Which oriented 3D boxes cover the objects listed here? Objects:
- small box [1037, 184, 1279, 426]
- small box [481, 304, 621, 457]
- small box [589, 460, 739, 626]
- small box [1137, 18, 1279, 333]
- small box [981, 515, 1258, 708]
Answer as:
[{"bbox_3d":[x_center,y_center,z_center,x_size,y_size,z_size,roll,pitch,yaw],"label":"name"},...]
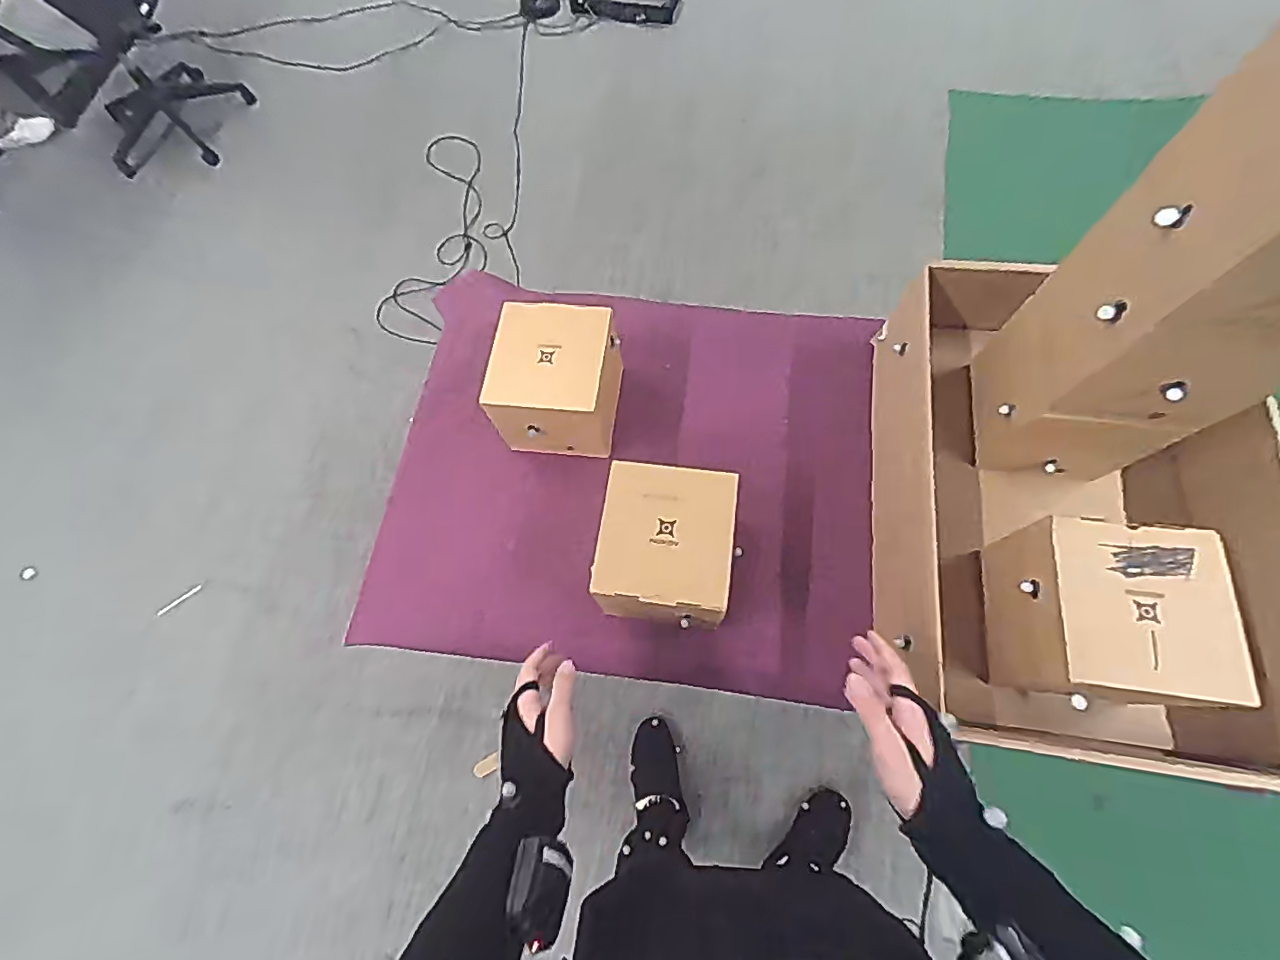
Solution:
[{"bbox_3d":[0.555,-0.173,0.569,0.168,0.176,0.179,9,71,8],"label":"small box"},{"bbox_3d":[-0.125,-0.148,0.844,0.168,0.176,0.179,5,68,6],"label":"small box"},{"bbox_3d":[0.037,0.094,0.736,0.168,0.176,0.179,7,68,6],"label":"small box"},{"bbox_3d":[0.538,-0.228,0.416,0.168,0.176,0.179,9,72,8],"label":"small box"},{"bbox_3d":[0.519,0.155,0.621,0.168,0.176,0.179,6,69,8],"label":"small box"}]
